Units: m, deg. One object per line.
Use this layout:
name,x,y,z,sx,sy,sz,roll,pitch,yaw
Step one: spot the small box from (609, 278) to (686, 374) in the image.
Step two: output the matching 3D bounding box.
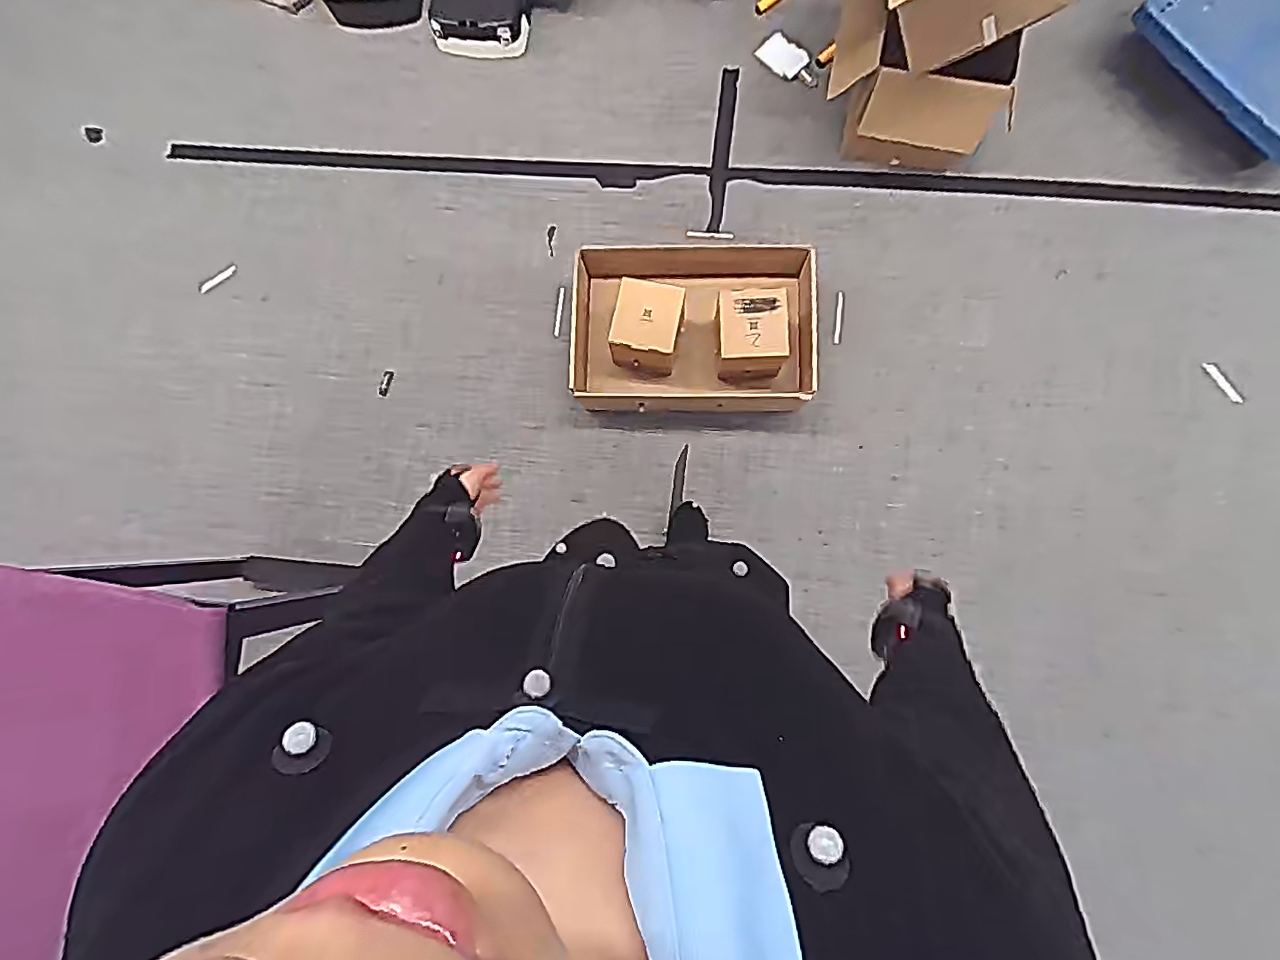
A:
small box,0.021,-0.401,1.426,0.168,0.176,0.179,12,85,4
